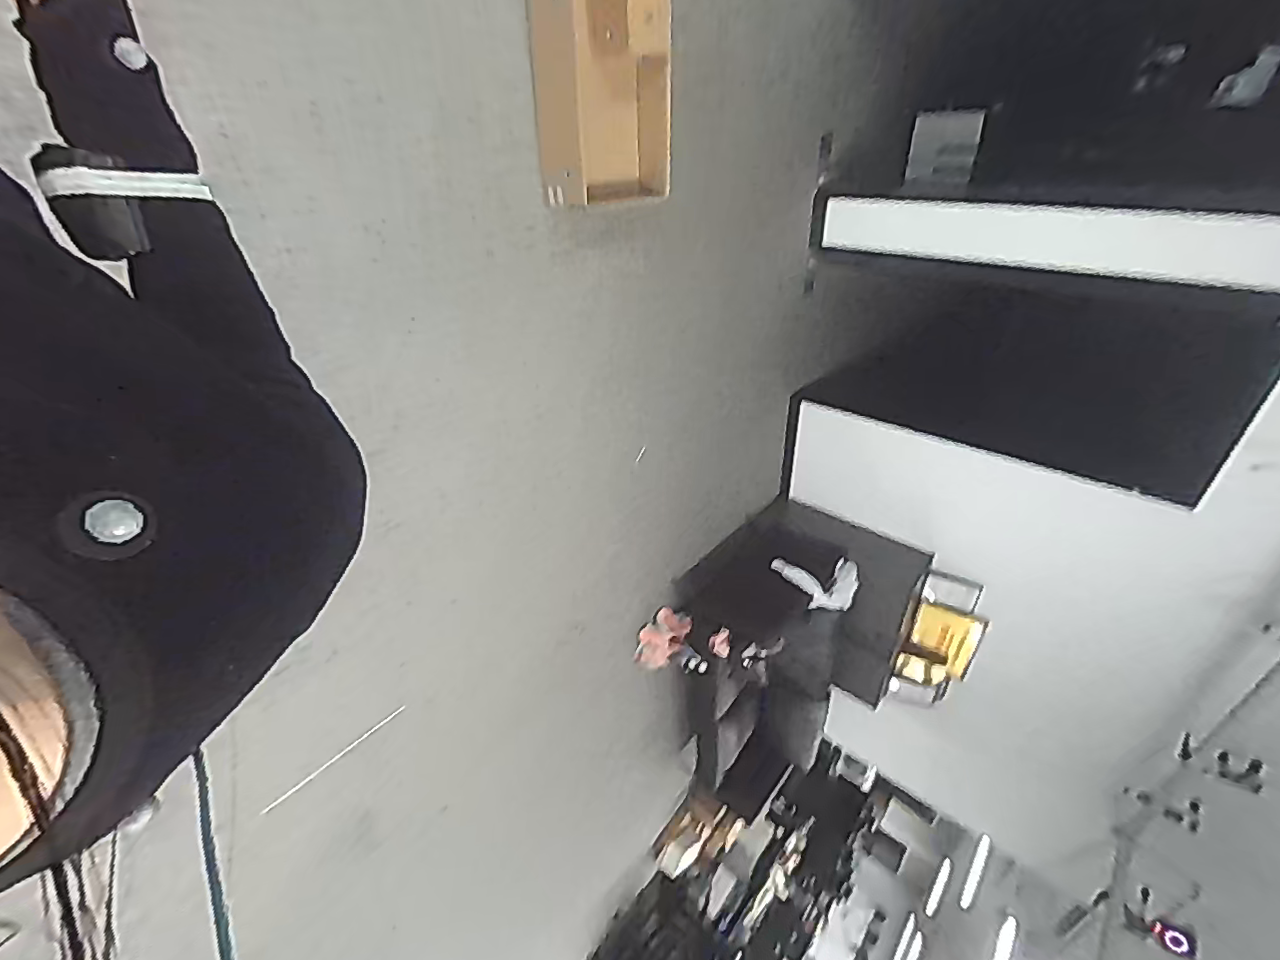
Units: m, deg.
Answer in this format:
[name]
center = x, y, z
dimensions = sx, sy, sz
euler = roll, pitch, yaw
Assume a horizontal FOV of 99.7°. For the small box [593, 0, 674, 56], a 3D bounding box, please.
[small box]
center = -0.022, -1.331, 1.555
dimensions = 0.179, 0.176, 0.168
euler = -34, 134, -35
